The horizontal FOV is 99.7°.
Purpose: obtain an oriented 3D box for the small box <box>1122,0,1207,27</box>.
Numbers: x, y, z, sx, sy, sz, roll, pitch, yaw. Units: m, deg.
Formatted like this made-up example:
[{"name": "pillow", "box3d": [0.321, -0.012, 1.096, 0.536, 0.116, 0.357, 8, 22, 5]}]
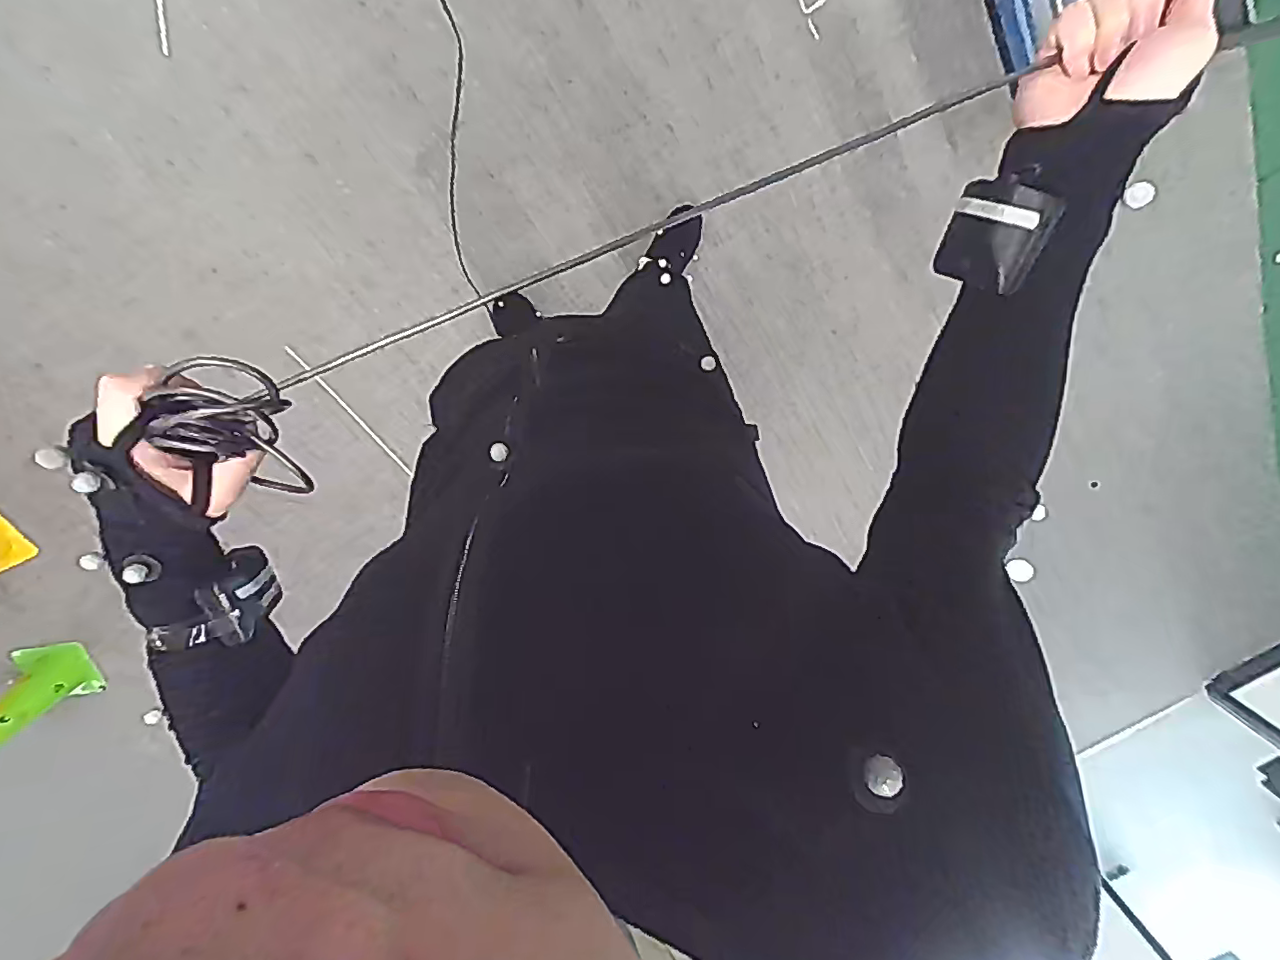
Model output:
[{"name": "small box", "box3d": [1.126, -1.076, 1.090, 0.179, 0.176, 0.168, -32, 114, 8]}]
